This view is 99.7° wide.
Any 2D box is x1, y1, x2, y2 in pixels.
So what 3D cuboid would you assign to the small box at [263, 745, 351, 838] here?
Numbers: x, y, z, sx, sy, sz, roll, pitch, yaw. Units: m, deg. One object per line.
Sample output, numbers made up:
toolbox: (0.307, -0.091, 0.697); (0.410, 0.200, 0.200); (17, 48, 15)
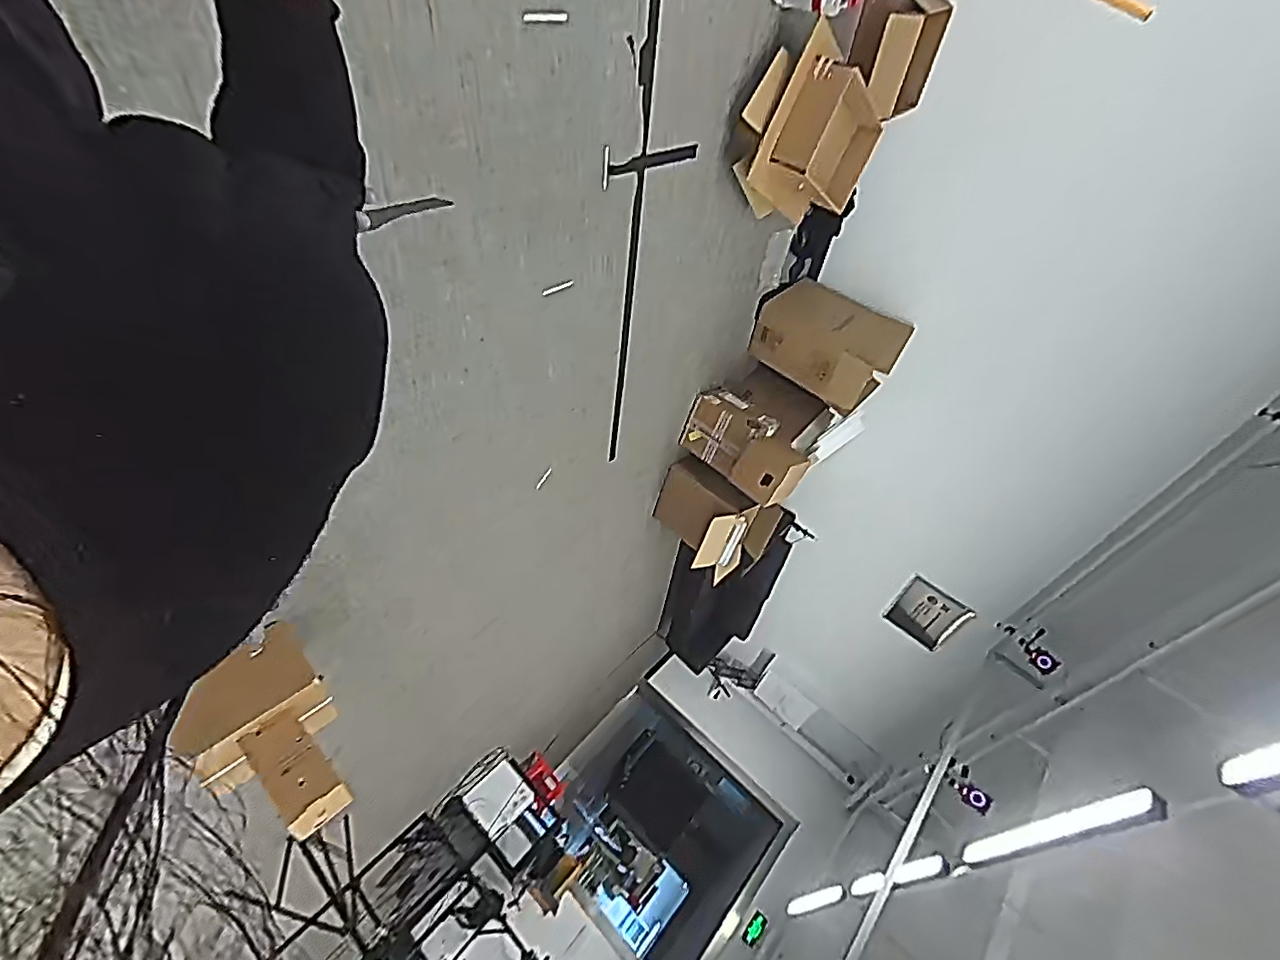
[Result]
small box: (-1.056, 0.980, 1.714); (0.168, 0.176, 0.179); (-33, 149, -38)
